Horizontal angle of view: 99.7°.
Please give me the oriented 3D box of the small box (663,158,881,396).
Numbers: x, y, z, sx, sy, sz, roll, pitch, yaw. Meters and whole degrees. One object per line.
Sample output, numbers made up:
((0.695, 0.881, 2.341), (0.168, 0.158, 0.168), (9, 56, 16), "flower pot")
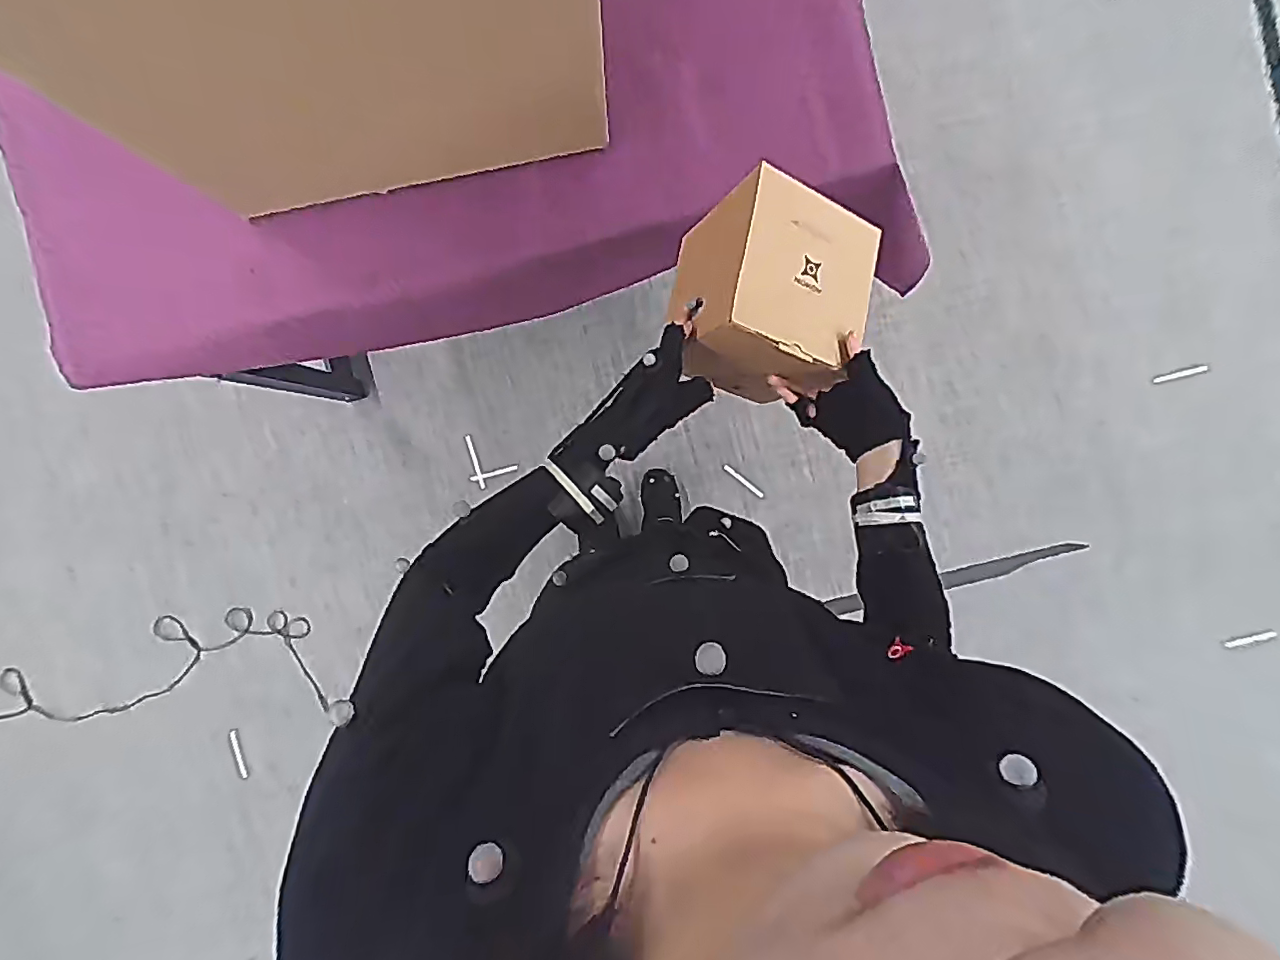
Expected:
((0.143, -0.211, 0.624), (0.168, 0.176, 0.179), (15, 80, -23), "small box")
